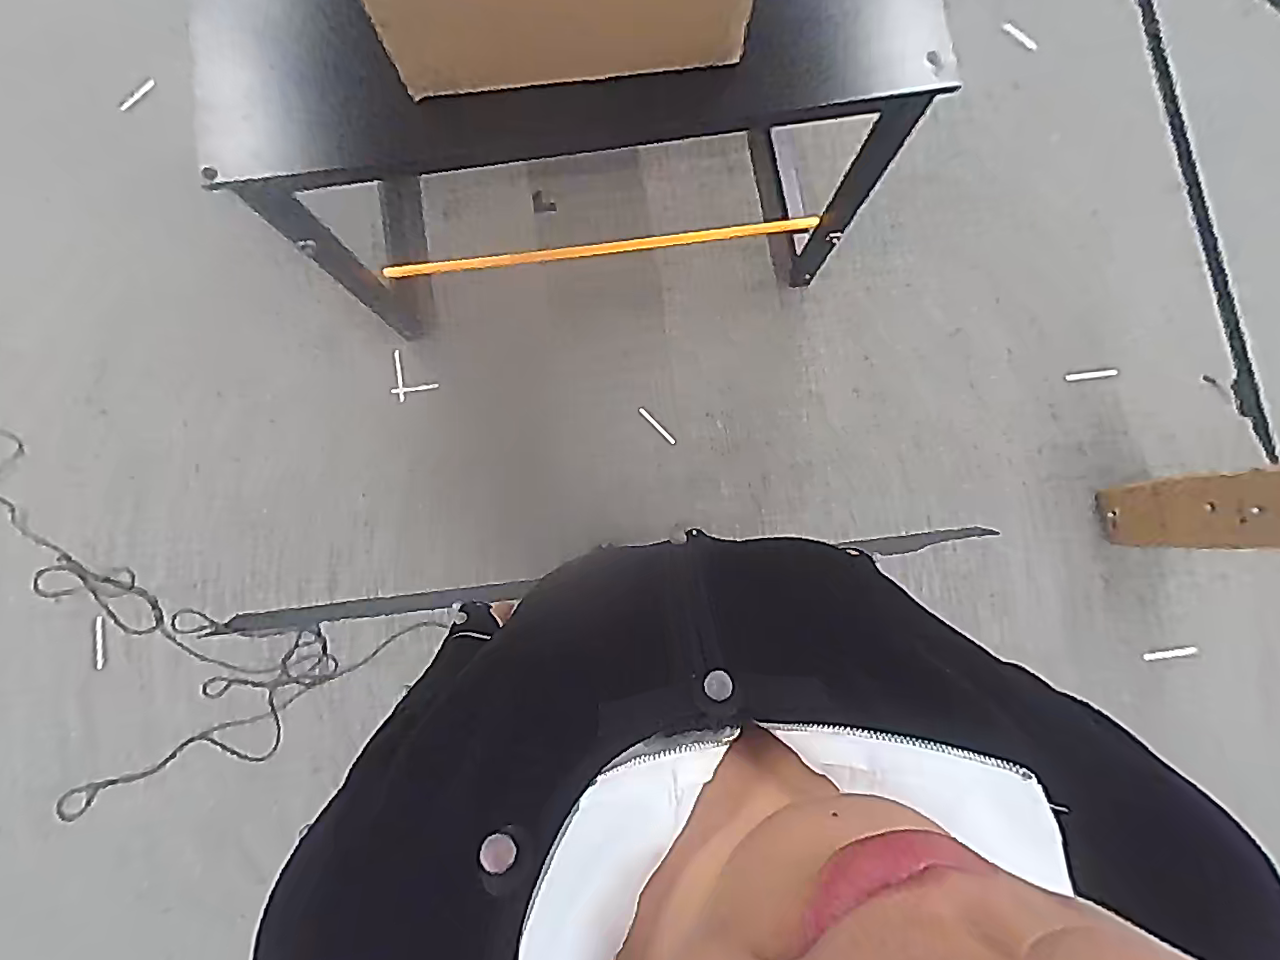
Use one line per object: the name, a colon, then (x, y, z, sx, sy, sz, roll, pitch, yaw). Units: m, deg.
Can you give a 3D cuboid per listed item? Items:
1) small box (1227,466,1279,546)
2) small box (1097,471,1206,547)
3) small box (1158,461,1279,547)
small box: (1.396, 0.048, 1.117, 0.179, 0.176, 0.168, -6, 84, 0)
small box: (1.391, 0.079, 1.445, 0.179, 0.176, 0.168, -13, 84, 0)
small box: (1.392, 0.062, 1.281, 0.168, 0.176, 0.179, -9, 84, -1)
